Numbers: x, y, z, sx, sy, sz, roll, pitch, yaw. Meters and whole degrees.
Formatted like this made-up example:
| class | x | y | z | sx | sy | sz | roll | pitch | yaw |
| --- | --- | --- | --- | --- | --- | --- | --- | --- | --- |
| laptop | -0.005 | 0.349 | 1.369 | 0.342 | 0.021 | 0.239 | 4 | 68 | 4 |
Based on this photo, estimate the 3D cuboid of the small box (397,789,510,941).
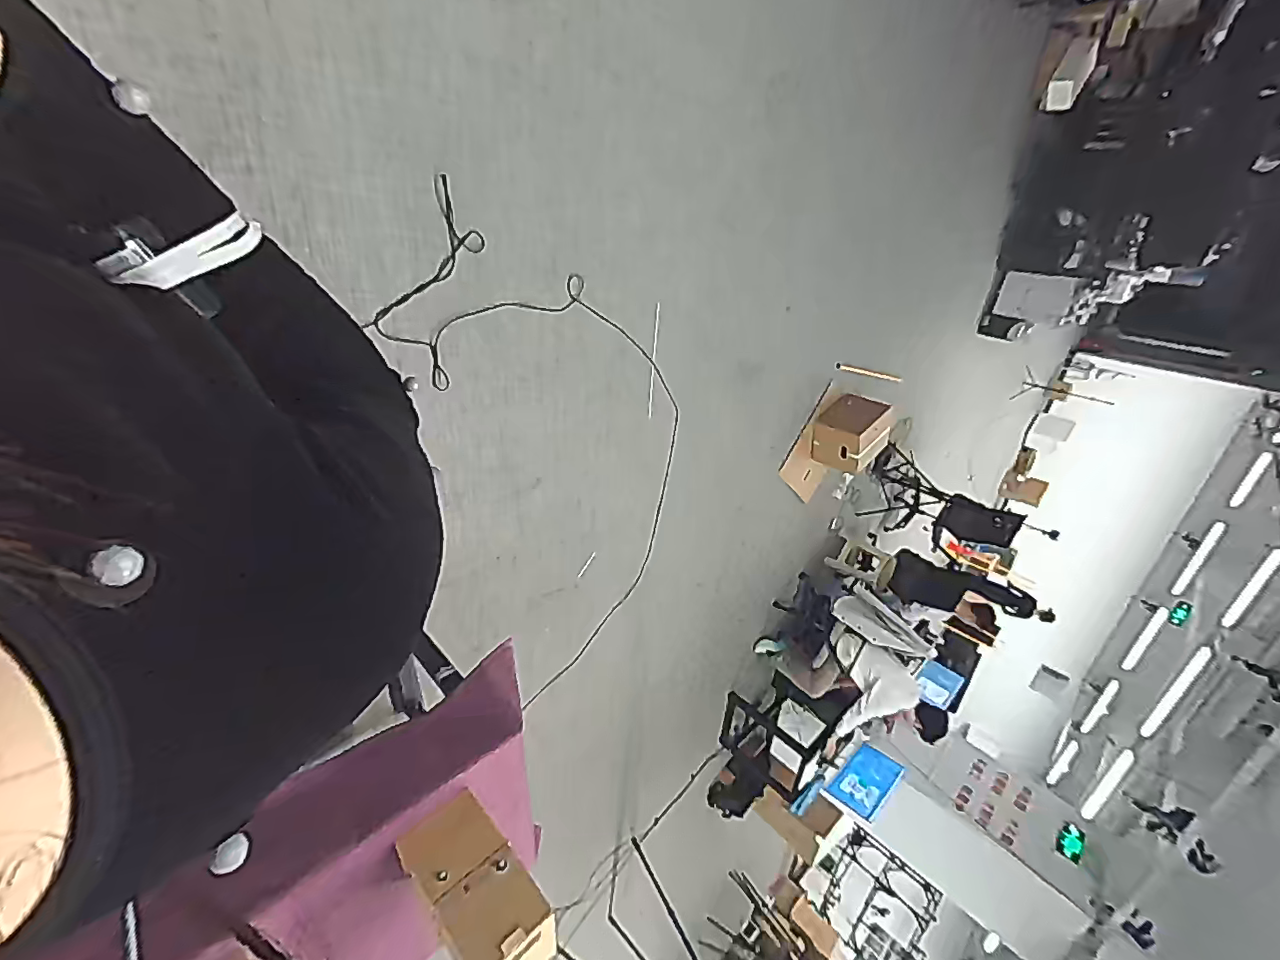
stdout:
| class | x | y | z | sx | sy | sz | roll | pitch | yaw |
| --- | --- | --- | --- | --- | --- | --- | --- | --- | --- |
| small box | -0.400 | 0.827 | 1.178 | 0.179 | 0.176 | 0.168 | -23 | 129 | -38 |

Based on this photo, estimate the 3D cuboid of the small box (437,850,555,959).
| class | x | y | z | sx | sy | sz | roll | pitch | yaw |
| --- | --- | --- | --- | --- | --- | --- | --- | --- | --- |
| small box | -0.286 | 0.891 | 1.079 | 0.168 | 0.176 | 0.179 | -23 | 130 | -38 |
